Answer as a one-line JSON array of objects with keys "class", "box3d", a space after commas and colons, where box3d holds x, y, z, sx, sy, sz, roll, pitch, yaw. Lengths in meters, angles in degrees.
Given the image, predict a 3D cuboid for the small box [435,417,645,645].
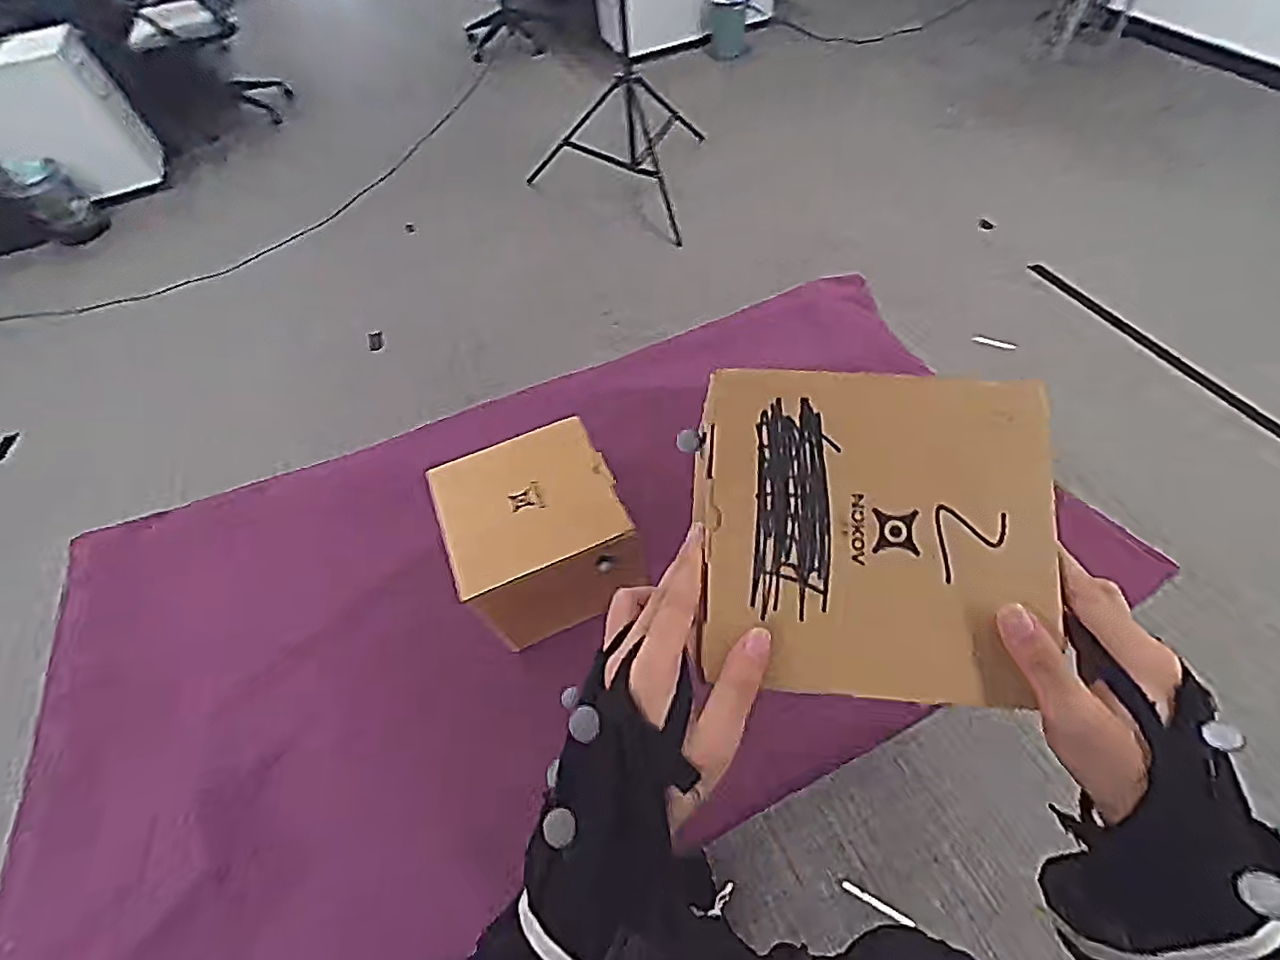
[{"class": "small box", "box3d": [-0.106, 0.064, 0.618, 0.179, 0.176, 0.168, -22, 57, -10]}]
